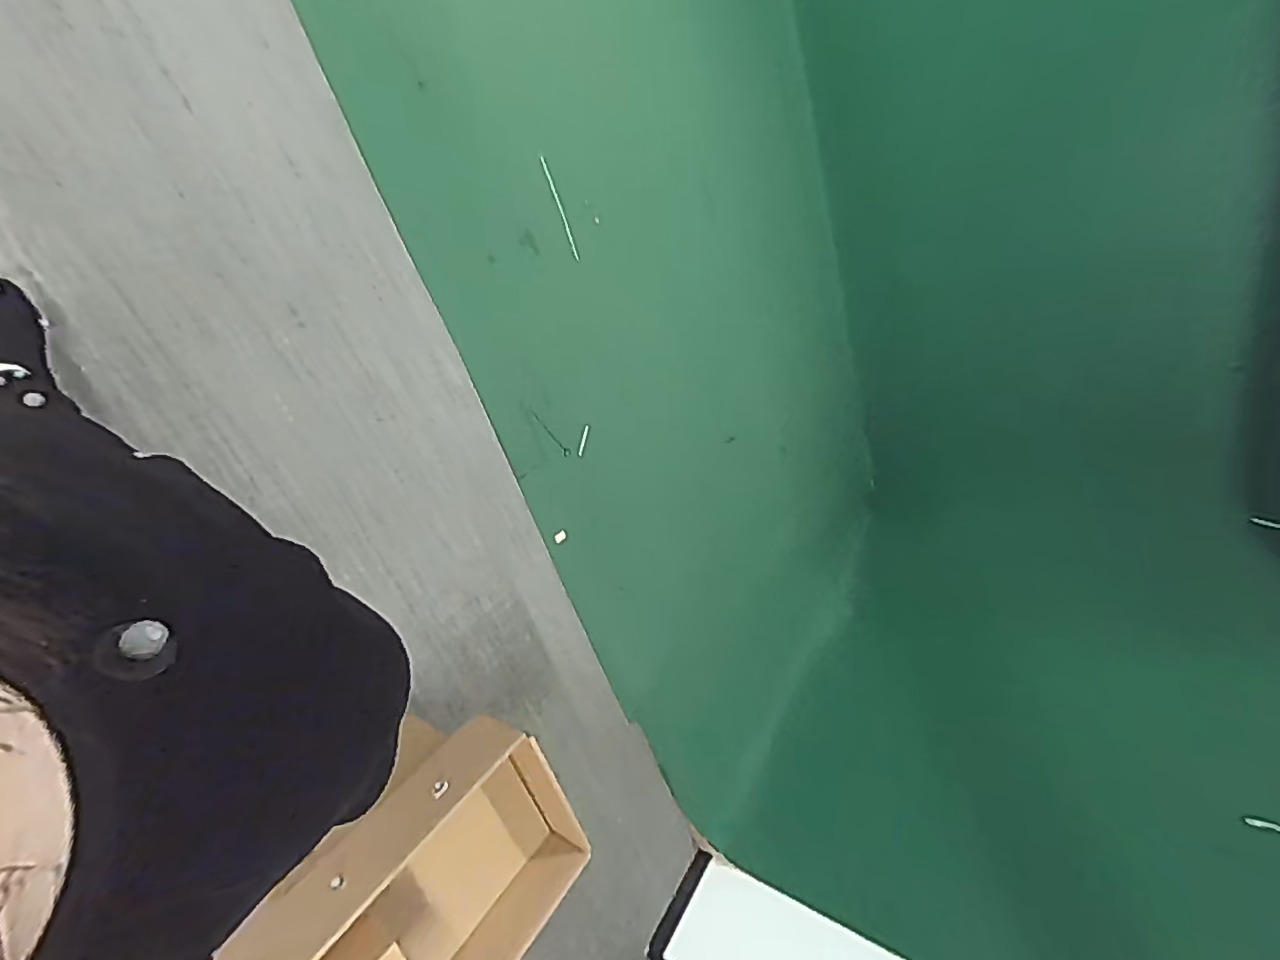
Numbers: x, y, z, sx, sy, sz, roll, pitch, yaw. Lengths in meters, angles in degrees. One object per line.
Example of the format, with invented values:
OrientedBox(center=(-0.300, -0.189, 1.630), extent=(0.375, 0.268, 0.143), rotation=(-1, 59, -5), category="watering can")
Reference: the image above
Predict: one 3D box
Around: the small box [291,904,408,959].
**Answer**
OrientedBox(center=(-0.483, 0.875, 0.909), extent=(0.168, 0.176, 0.179), rotation=(-32, 114, -45), category="small box")
